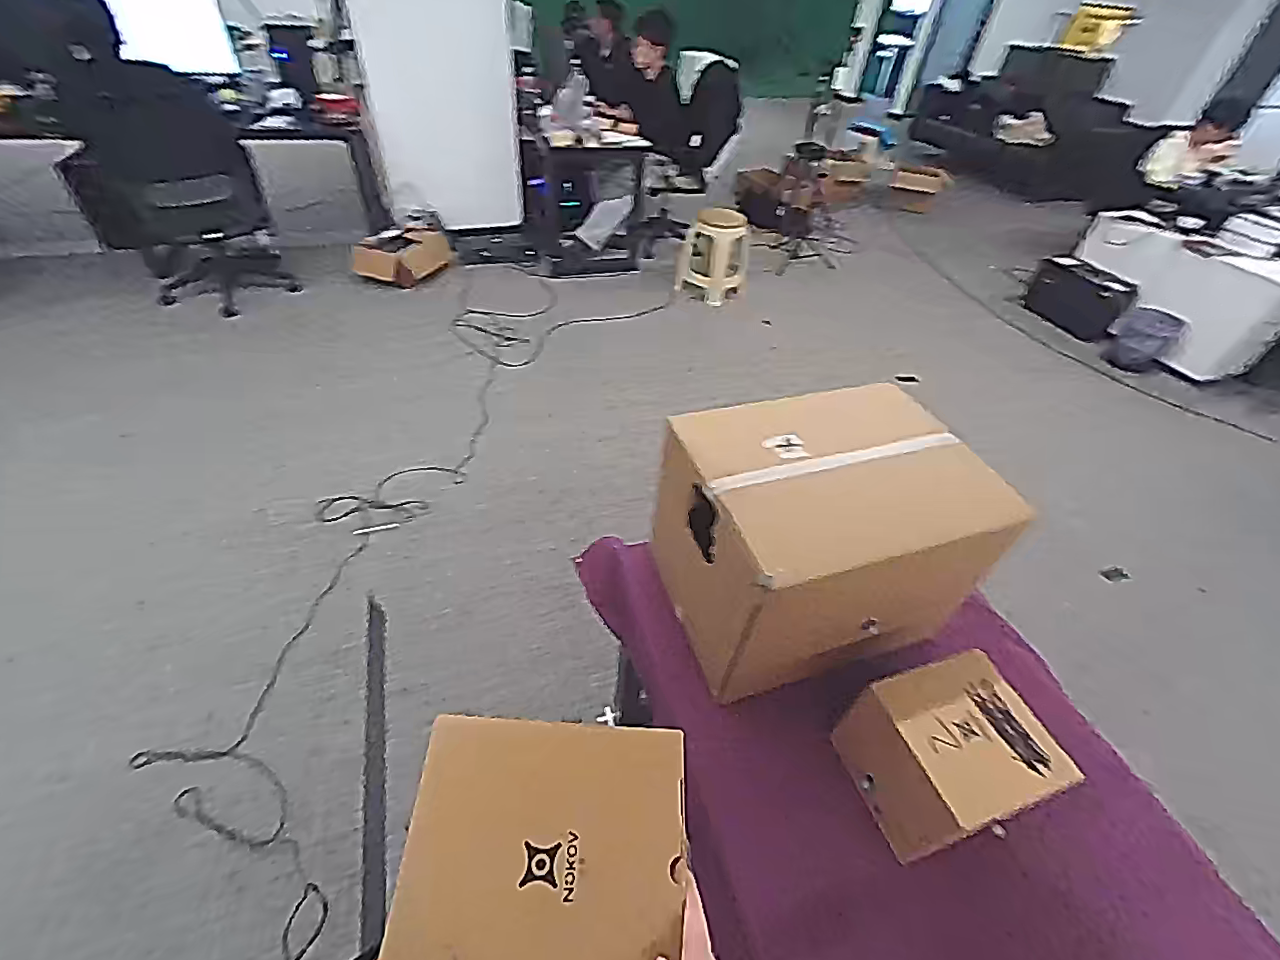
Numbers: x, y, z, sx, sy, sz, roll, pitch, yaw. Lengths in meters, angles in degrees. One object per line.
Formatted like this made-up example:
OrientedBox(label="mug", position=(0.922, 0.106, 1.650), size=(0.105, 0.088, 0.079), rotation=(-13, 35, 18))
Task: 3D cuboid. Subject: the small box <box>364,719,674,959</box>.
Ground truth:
OrientedBox(label="small box", position=(-0.078, 0.286, 0.393), size=(0.179, 0.176, 0.168), rotation=(7, 53, -8))
